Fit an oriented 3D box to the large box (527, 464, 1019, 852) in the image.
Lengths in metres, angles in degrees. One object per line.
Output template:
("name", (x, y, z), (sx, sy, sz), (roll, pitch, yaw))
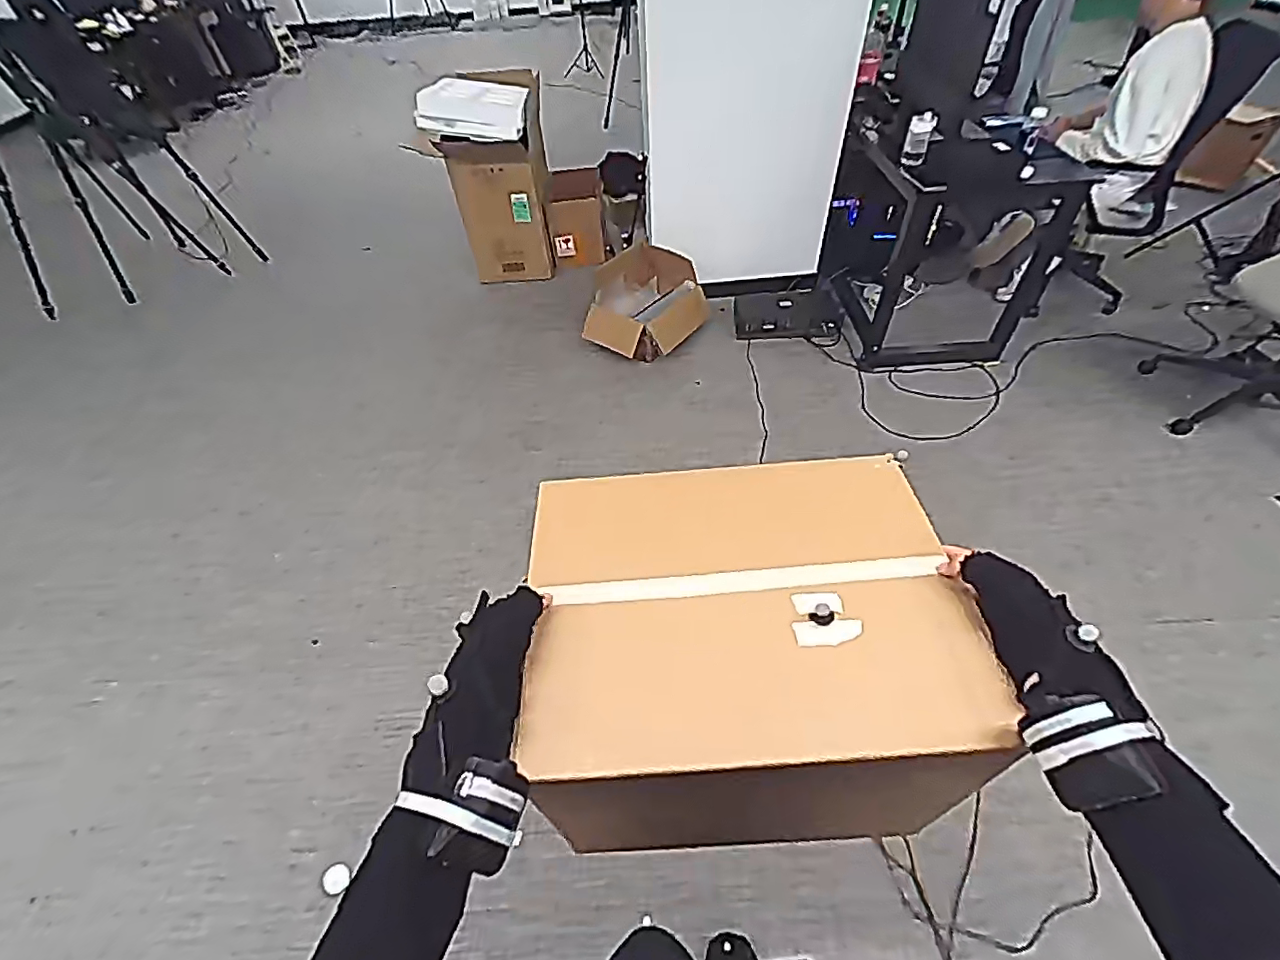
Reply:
("large box", (0.106, 0.211, 0.637), (0.408, 0.320, 0.320), (-5, 46, 1))
